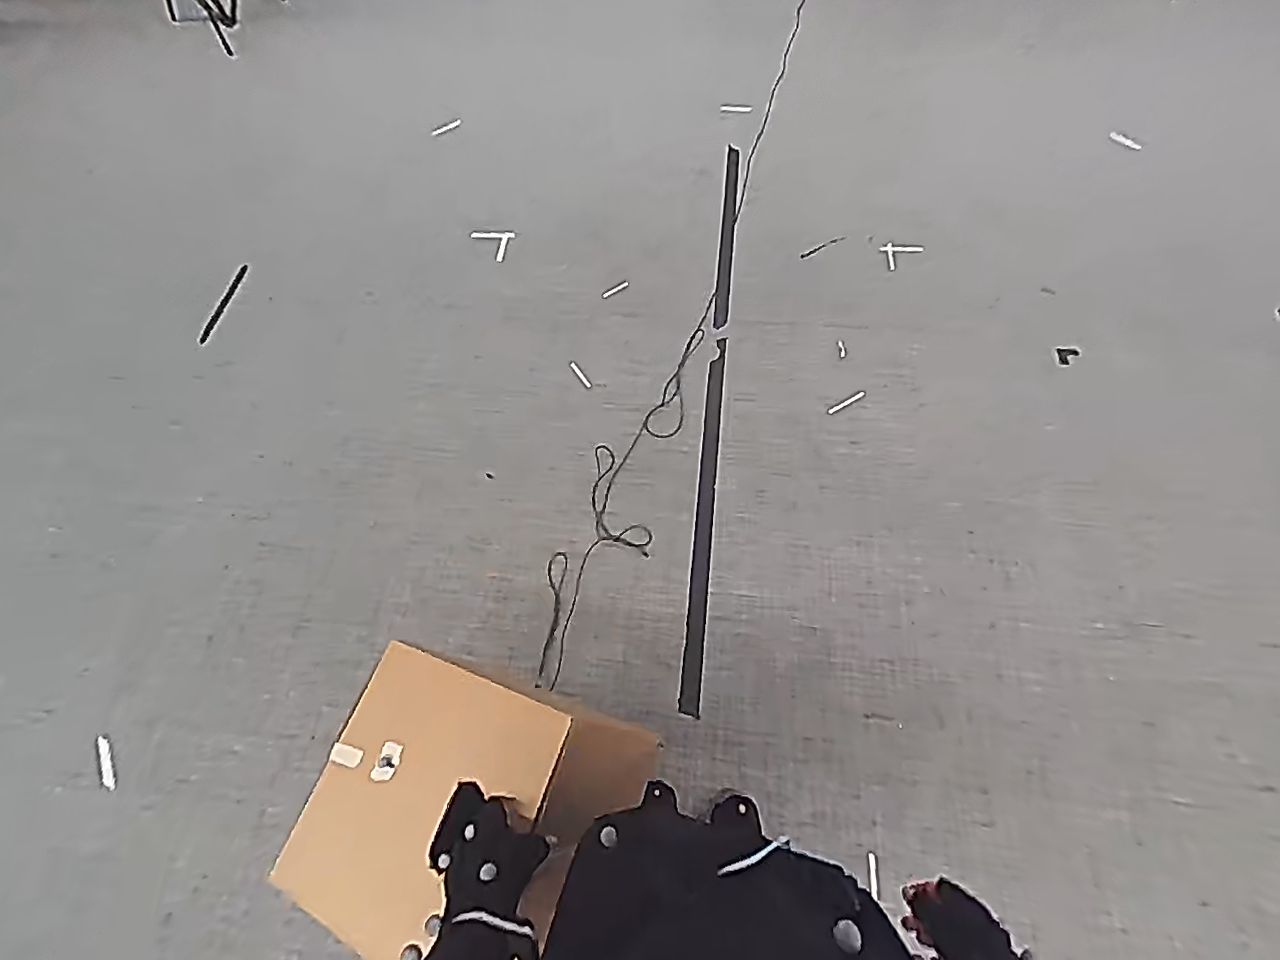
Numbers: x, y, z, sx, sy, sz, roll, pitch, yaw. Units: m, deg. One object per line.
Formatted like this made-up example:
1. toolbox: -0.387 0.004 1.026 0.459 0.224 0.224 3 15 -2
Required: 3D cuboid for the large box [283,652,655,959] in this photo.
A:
1. large box: -0.215 0.489 0.833 0.320 0.408 0.320 13 68 24
